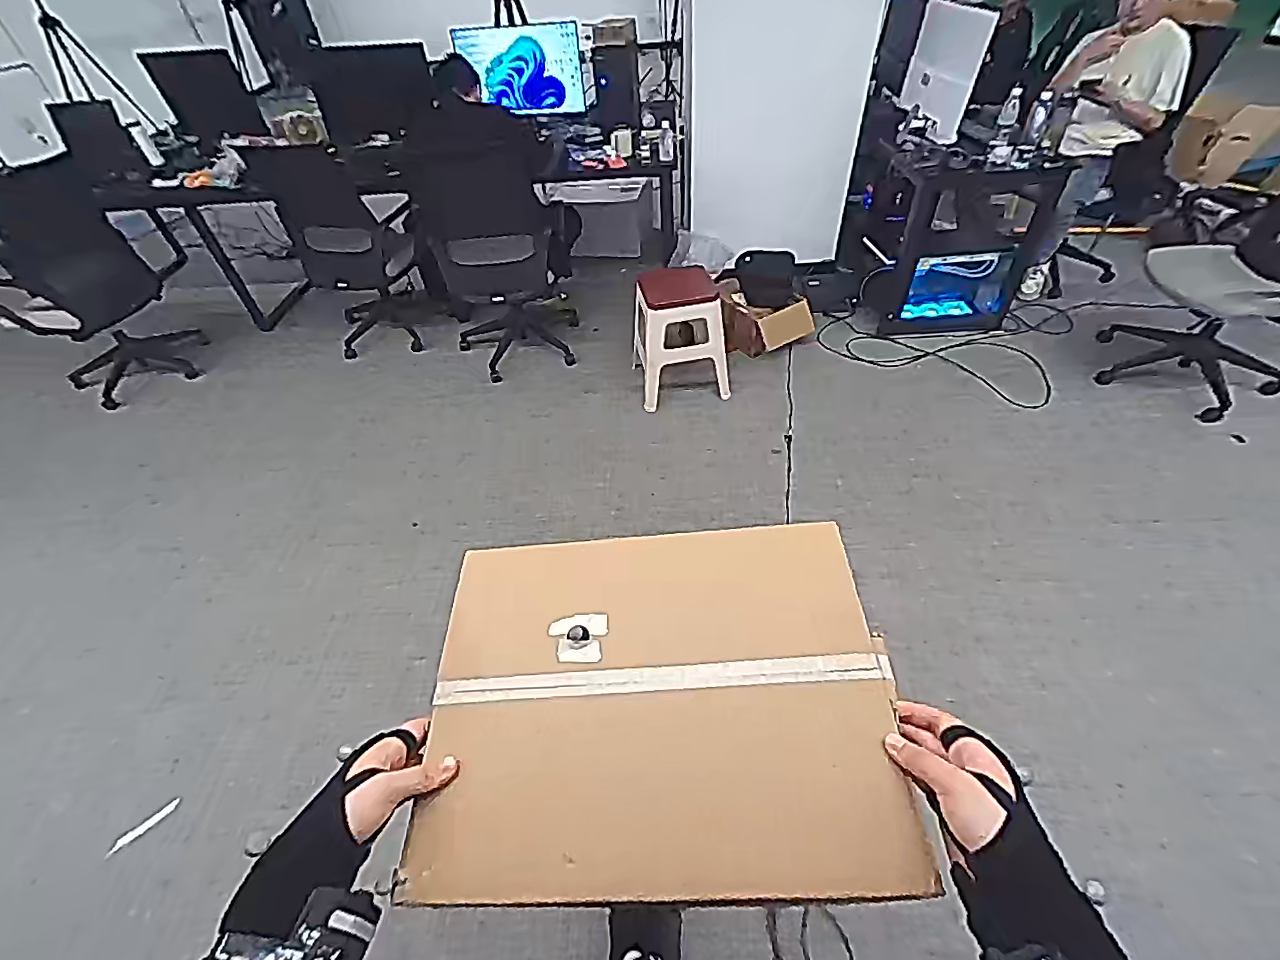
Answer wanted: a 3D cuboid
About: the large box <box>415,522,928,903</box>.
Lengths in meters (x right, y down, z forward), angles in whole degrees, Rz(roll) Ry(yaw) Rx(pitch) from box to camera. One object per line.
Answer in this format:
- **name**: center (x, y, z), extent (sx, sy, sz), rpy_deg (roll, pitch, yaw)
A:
- **large box**: center (0.035, 0.279, 0.616), extent (0.408, 0.320, 0.320), rpy_deg (-7, 49, 6)
